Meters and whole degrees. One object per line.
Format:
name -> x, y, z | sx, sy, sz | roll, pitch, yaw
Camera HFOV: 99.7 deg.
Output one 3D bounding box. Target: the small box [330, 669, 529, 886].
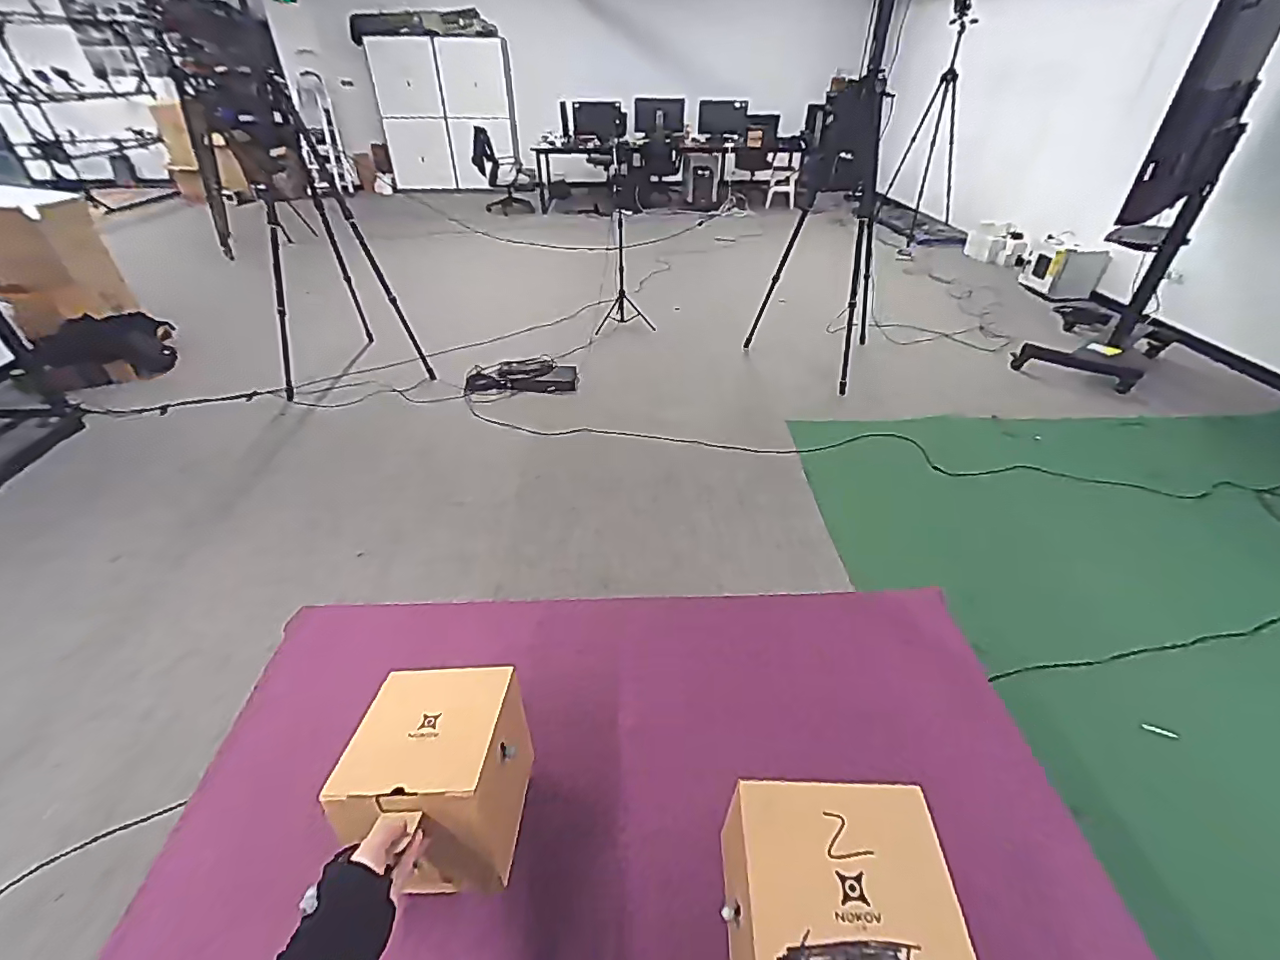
small box -> -0.242, 0.362, 0.675 | 0.168, 0.176, 0.179 | -3, 25, 3
